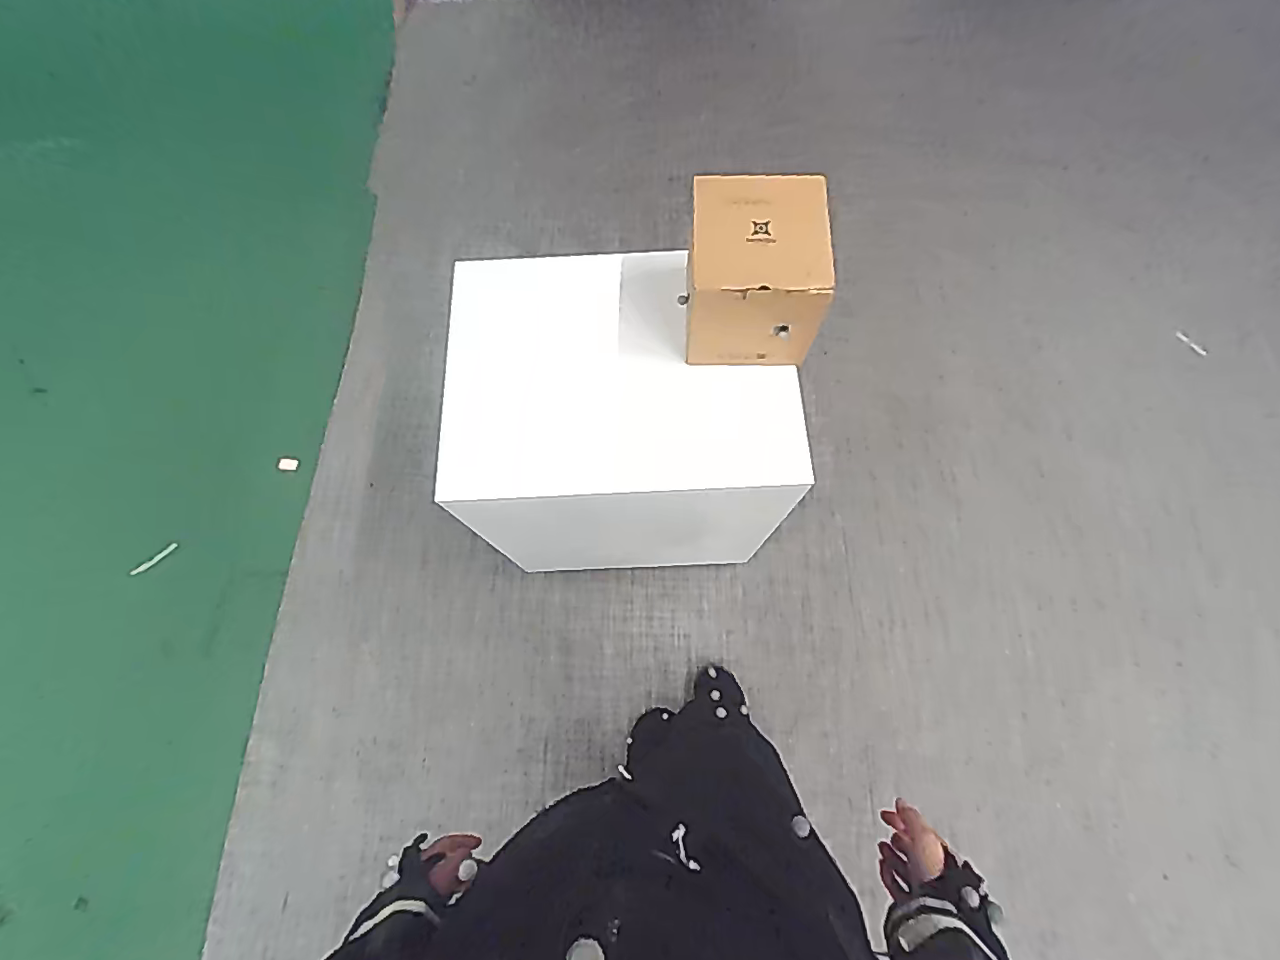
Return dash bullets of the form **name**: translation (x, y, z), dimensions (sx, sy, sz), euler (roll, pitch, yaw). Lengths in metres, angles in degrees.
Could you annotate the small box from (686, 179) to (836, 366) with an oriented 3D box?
- **small box**: translation (0.151, -0.268, 0.726), dimensions (0.168, 0.176, 0.179), euler (1, 70, 1)
